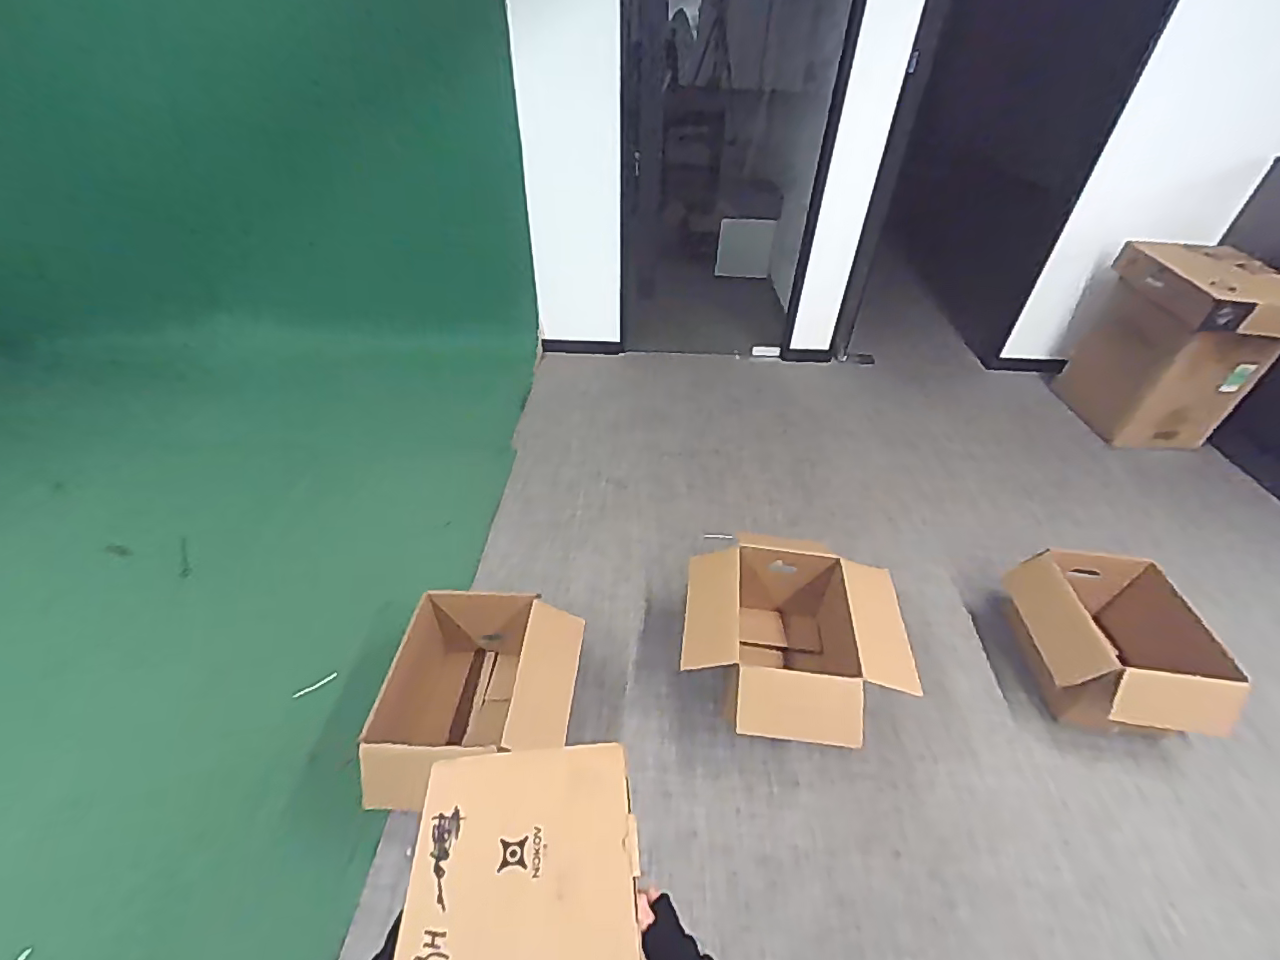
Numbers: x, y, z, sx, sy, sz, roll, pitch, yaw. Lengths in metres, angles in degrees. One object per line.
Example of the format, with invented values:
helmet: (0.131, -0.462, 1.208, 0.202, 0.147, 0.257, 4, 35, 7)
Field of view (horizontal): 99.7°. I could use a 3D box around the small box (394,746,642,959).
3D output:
small box: (-0.095, 0.362, 0.483, 0.179, 0.176, 0.168, -1, 37, -5)
